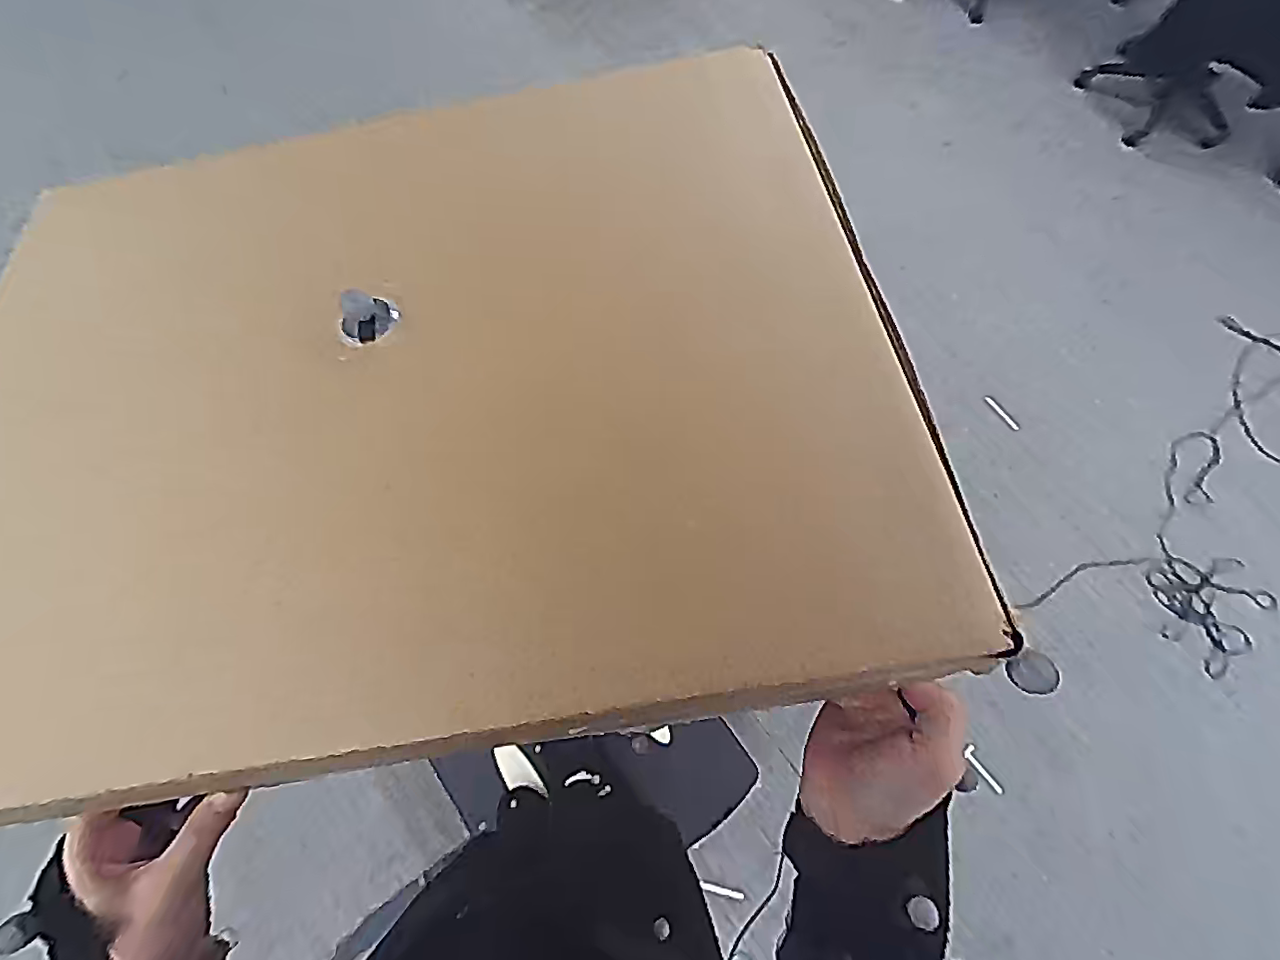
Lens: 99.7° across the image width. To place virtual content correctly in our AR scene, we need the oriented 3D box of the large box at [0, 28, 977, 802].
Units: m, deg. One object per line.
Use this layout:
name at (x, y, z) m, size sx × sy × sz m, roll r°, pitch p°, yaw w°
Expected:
large box at (-0.100, -0.003, 0.361) m, size 0.408 × 0.320 × 0.320 m, roll -11°, pitch 67°, yaw 3°
